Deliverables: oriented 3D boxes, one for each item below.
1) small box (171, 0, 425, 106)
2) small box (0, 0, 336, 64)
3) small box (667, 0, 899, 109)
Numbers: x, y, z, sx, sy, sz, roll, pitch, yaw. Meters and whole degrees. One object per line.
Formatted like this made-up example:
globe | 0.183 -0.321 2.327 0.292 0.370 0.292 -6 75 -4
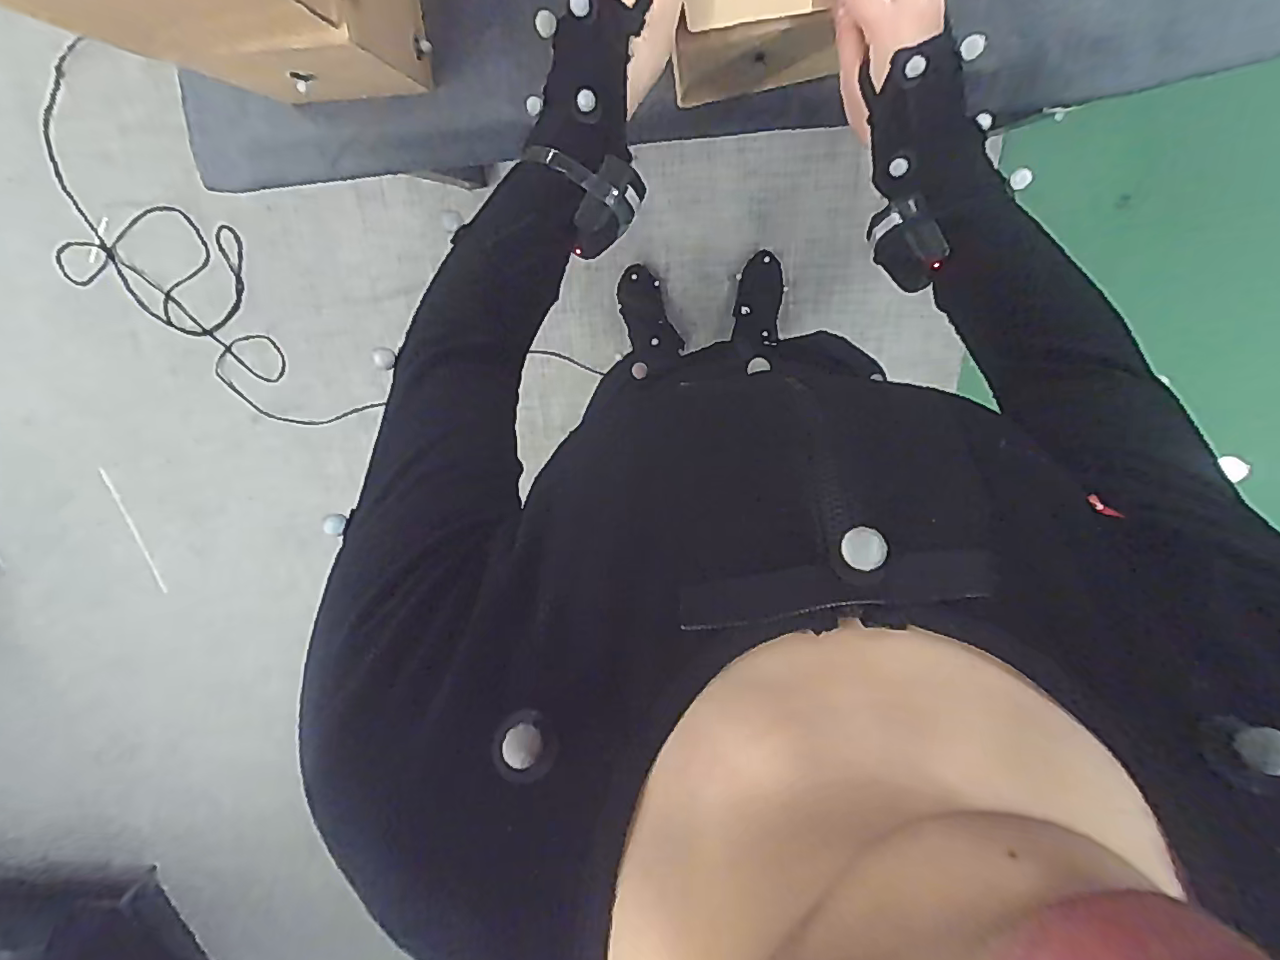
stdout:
small box | -0.319 -0.465 0.500 0.179 0.176 0.168 -1 113 5
small box | -0.346 -0.403 0.352 0.179 0.176 0.168 -5 113 6
small box | 0.109 -0.453 0.472 0.179 0.176 0.168 -7 111 9
